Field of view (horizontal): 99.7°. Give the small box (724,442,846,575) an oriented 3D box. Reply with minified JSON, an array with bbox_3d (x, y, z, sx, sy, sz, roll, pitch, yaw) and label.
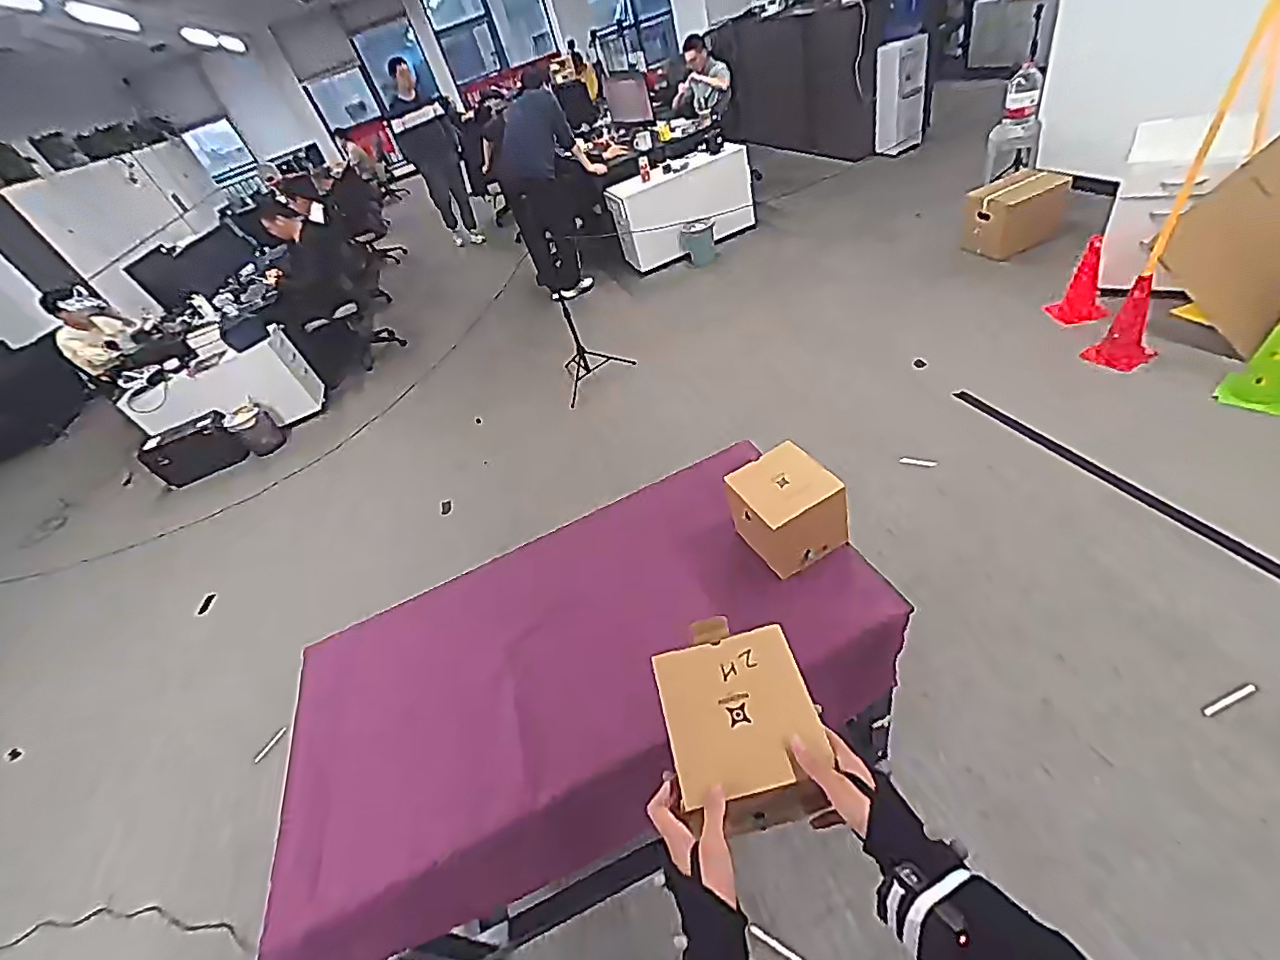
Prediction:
[{"bbox_3d":[0.295,0.058,1.100,0.168,0.176,0.179,-30,41,-7],"label":"small box"}]

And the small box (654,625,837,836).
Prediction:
[{"bbox_3d":[0.122,0.311,0.662,0.168,0.176,0.179,-13,43,-1],"label":"small box"}]
